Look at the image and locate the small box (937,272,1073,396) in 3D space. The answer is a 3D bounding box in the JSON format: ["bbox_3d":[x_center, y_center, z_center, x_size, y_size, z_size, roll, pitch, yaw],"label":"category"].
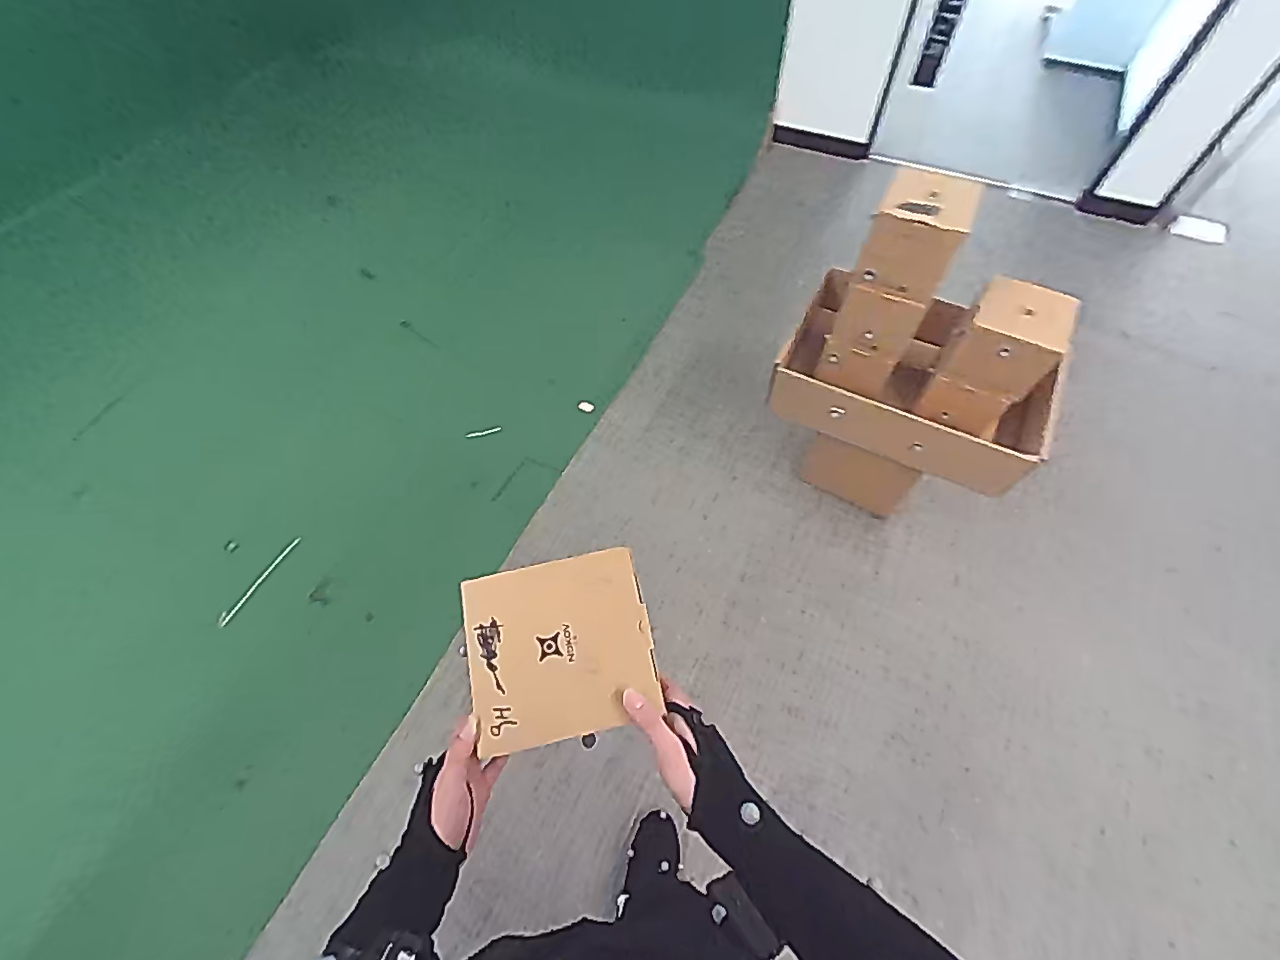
[{"bbox_3d":[0.784,-0.311,1.178,0.179,0.176,0.168,26,66,14],"label":"small box"}]

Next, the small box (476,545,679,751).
[{"bbox_3d":[-0.065,0.181,0.586,0.179,0.176,0.168,-10,68,-5],"label":"small box"}]

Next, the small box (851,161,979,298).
[{"bbox_3d":[0.550,-0.504,1.100,0.168,0.176,0.179,23,63,13],"label":"small box"}]

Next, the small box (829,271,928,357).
[{"bbox_3d":[0.554,-0.418,1.240,0.168,0.176,0.179,24,64,14],"label":"small box"}]
